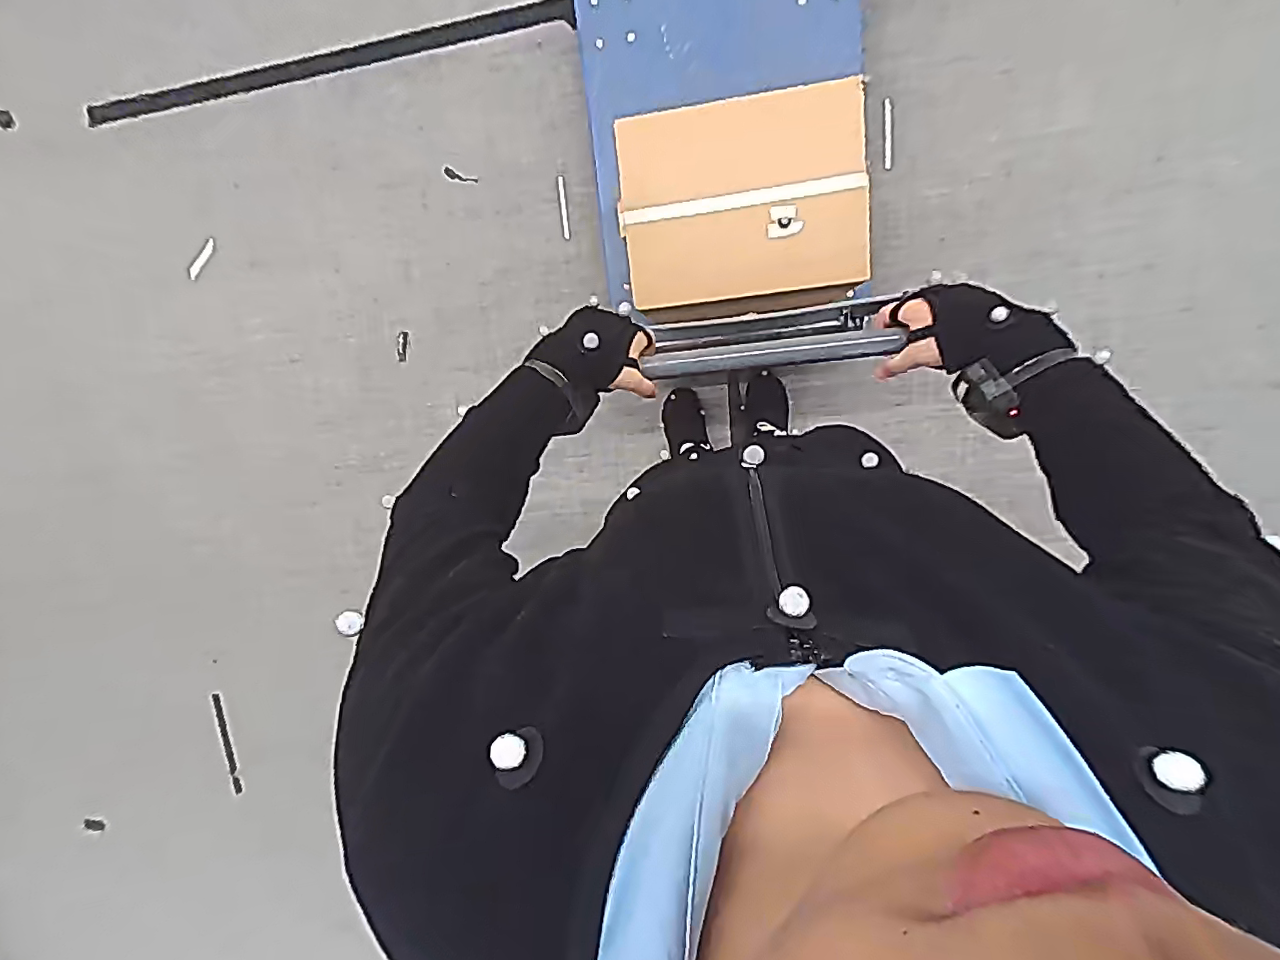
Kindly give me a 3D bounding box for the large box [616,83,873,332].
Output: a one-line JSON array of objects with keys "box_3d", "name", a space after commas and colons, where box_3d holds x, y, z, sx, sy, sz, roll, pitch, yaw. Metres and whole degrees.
[{"box_3d": [0.188, -0.480, 1.042, 0.408, 0.320, 0.320, -5, 101, 7], "name": "large box"}]
